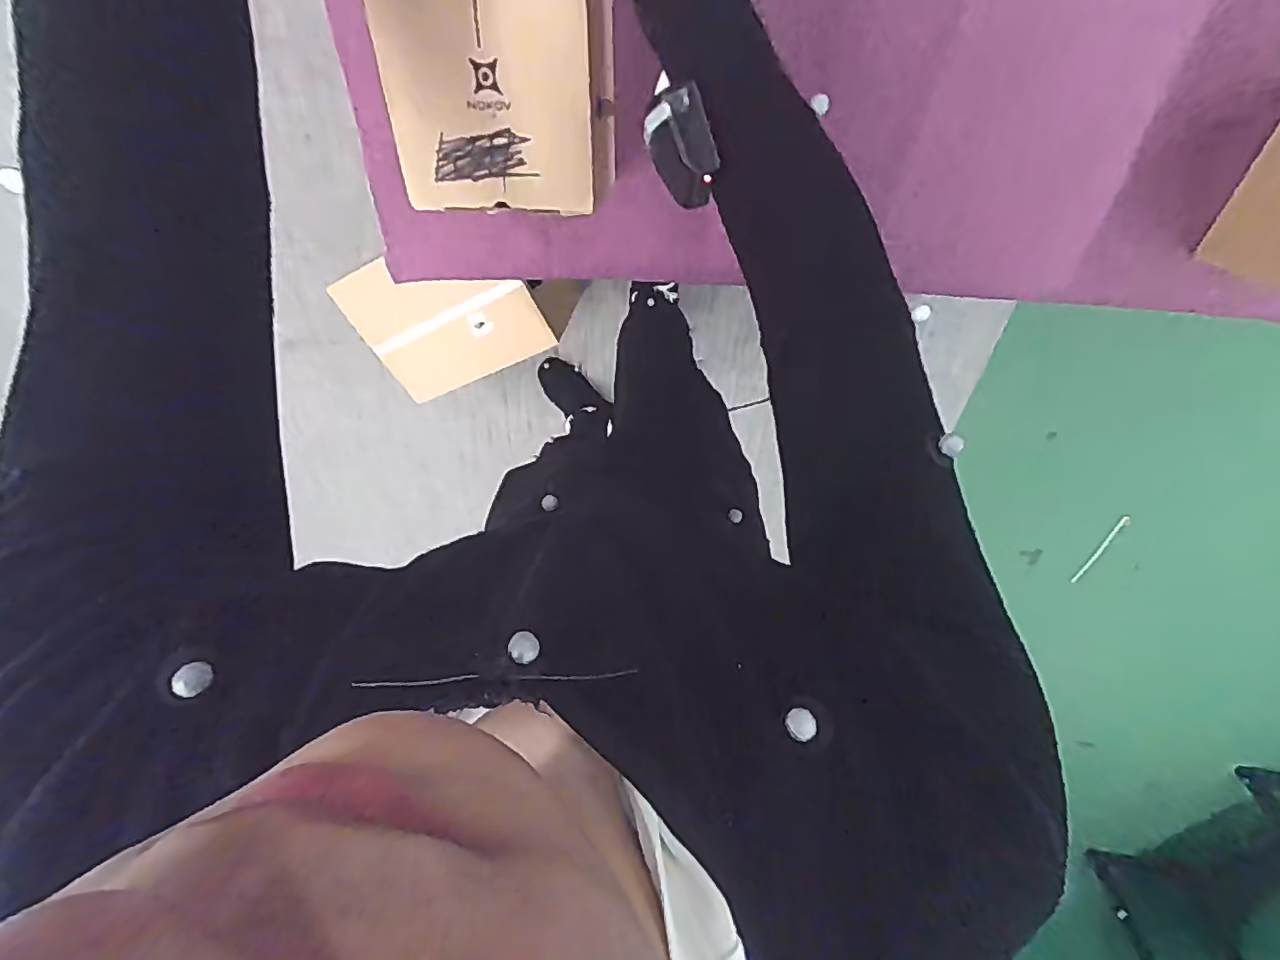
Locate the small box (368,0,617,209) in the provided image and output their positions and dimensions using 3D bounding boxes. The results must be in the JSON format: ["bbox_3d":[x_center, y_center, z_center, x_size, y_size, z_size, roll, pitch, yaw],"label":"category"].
[{"bbox_3d":[-0.111,-0.356,0.482,0.168,0.176,0.179,2,127,3],"label":"small box"}]

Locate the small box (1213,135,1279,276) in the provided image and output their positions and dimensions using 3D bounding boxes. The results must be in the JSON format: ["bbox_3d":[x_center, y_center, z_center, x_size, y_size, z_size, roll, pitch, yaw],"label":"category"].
[{"bbox_3d":[0.693,-0.262,0.477,0.168,0.176,0.179,7,126,2],"label":"small box"}]

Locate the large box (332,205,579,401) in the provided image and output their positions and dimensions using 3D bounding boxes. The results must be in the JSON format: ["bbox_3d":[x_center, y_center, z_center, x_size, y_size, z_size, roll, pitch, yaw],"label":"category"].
[{"bbox_3d":[-0.405,-0.450,1.278,0.408,0.320,0.320,-19,124,18],"label":"large box"}]

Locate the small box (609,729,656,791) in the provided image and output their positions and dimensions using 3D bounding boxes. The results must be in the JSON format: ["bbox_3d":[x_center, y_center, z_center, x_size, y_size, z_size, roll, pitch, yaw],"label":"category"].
[{"bbox_3d":[-0.028,1.217,2.352,0.168,0.176,0.179,14,127,-2],"label":"small box"}]
